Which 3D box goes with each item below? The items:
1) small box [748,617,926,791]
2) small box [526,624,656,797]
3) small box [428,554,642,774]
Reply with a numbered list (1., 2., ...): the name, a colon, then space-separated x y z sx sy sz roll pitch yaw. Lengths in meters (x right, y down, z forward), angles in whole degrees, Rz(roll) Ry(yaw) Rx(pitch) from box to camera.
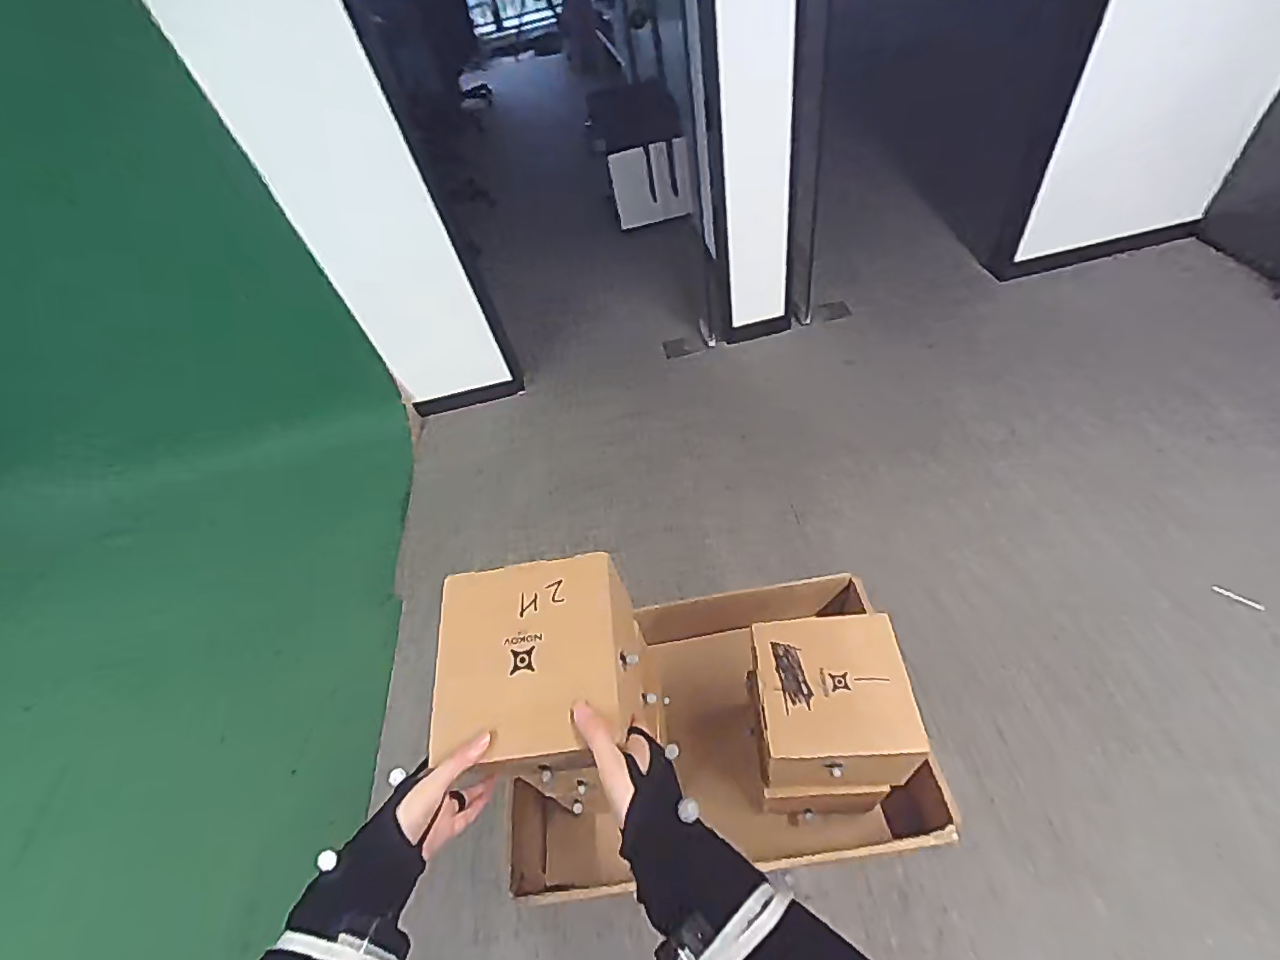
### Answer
1. small box: 0.240 0.296 0.704 0.179 0.176 0.168 -6 49 7
2. small box: -0.071 0.323 0.752 0.168 0.176 0.179 -7 49 6
3. small box: -0.095 0.199 0.559 0.168 0.176 0.179 -9 57 4
